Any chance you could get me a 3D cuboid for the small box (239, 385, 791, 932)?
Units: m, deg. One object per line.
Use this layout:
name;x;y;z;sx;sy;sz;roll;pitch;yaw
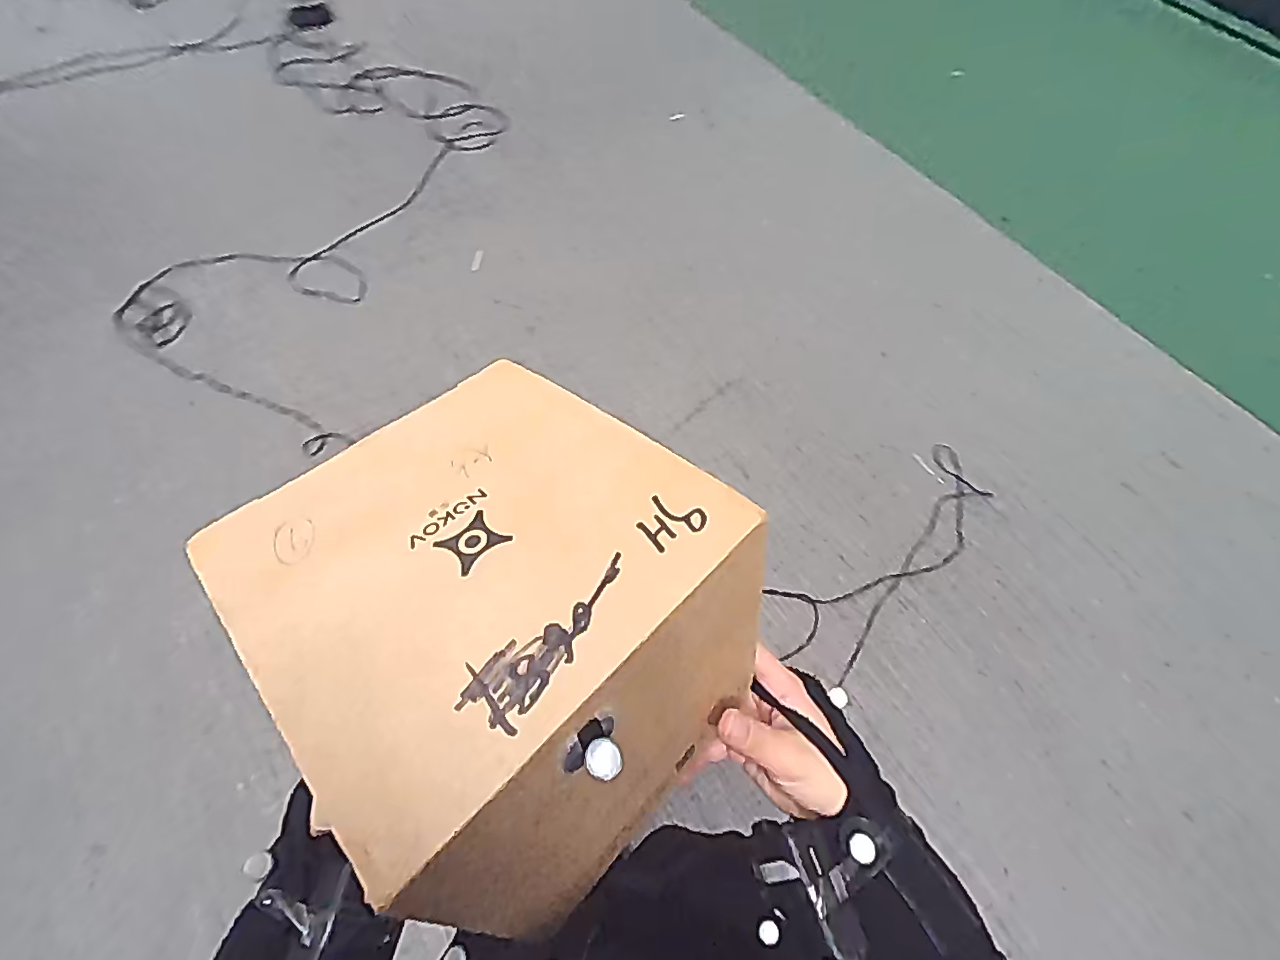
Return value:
small box;-0.048;0.085;0.278;0.179;0.176;0.168;33;60;33
